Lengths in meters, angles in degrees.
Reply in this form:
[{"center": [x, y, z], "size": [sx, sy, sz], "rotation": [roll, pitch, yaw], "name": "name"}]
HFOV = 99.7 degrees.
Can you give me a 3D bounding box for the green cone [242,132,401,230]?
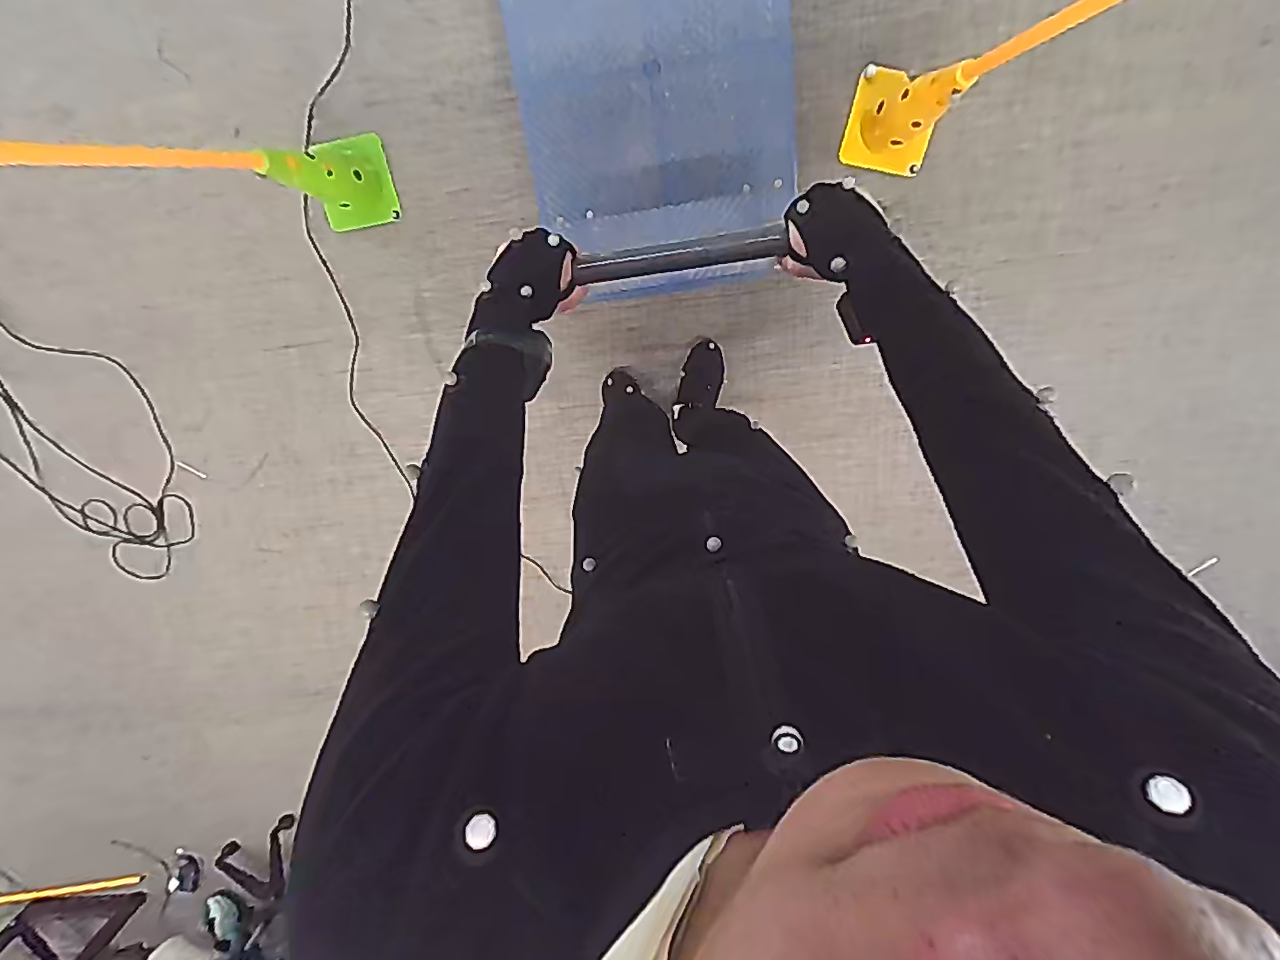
[{"center": [-0.742, -0.698, 1.224], "size": [0.202, 0.368, 0.200], "rotation": [-8, 111, 9], "name": "green cone"}]
